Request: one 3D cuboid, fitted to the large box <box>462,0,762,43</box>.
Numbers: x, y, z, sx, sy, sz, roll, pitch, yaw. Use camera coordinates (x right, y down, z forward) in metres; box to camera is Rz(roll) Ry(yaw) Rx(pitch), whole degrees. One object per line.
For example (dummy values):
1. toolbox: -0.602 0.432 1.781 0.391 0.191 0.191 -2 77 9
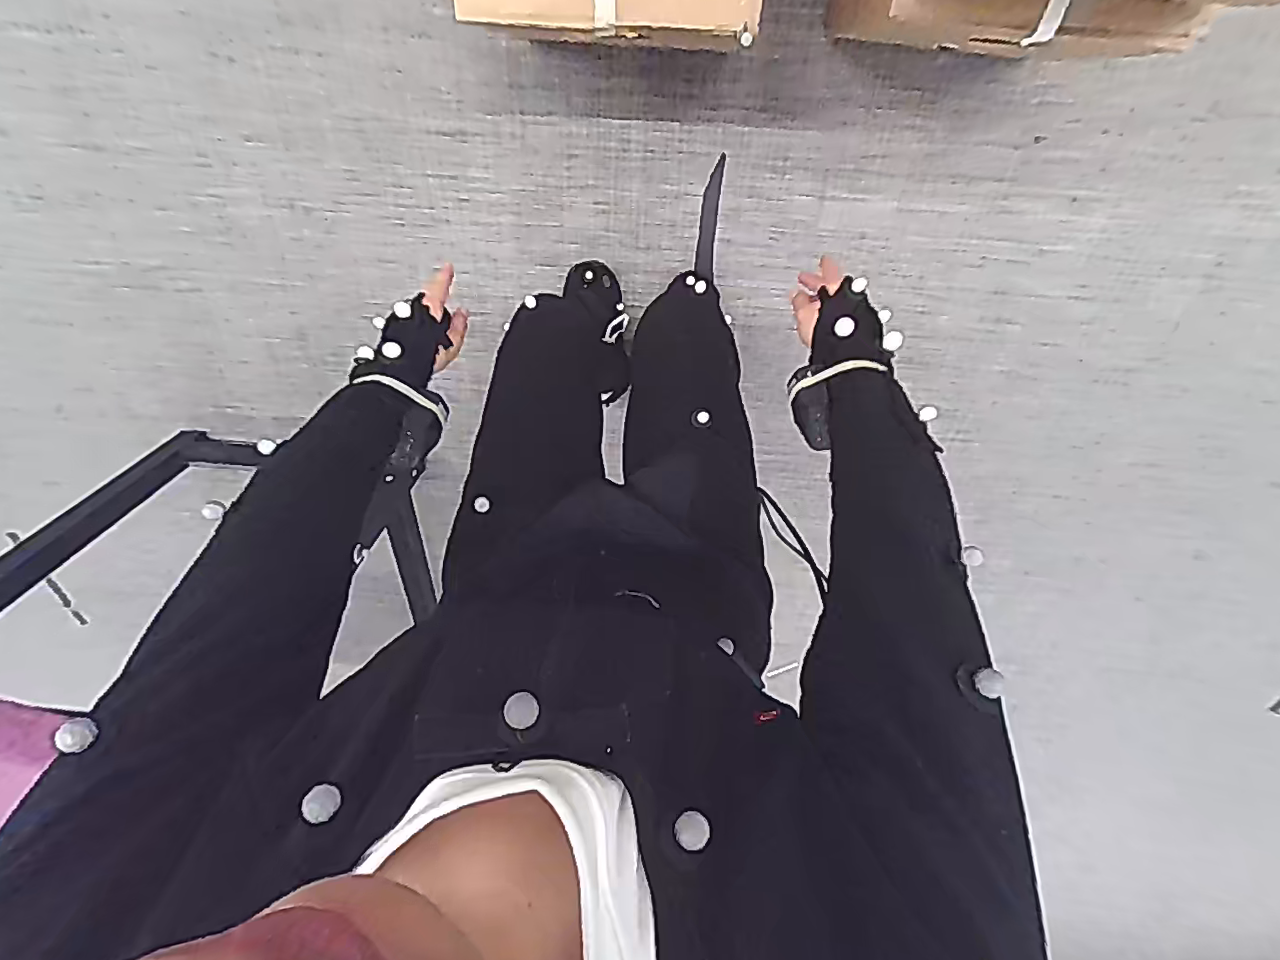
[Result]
1. large box: -0.020 -0.720 0.558 0.320 0.320 0.408 4 127 2
